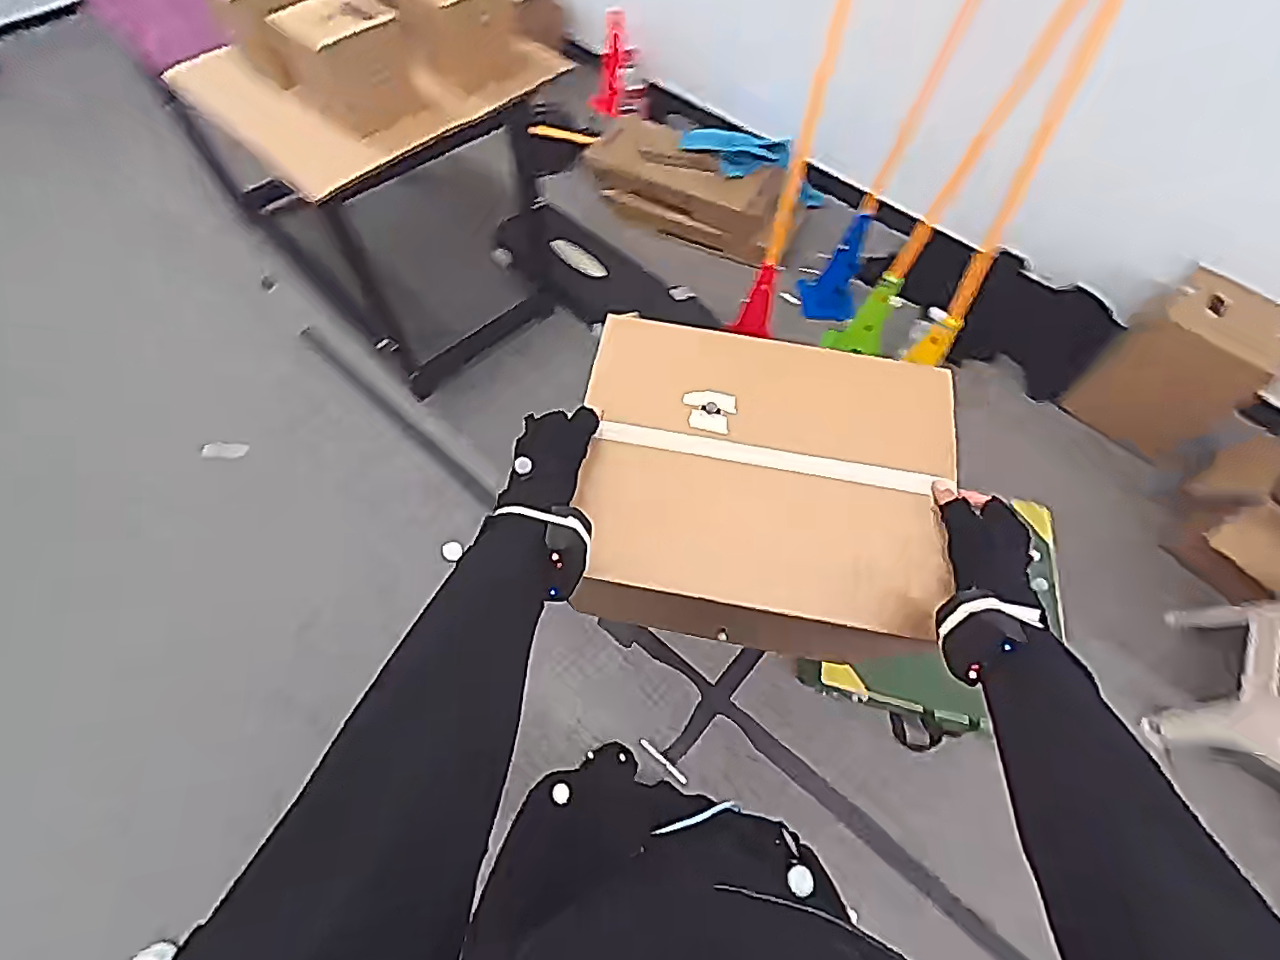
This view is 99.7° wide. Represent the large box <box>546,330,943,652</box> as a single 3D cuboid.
[{"bbox_3d":[0.125,0.038,0.727,0.408,0.320,0.320,9,68,4],"label":"large box"}]
